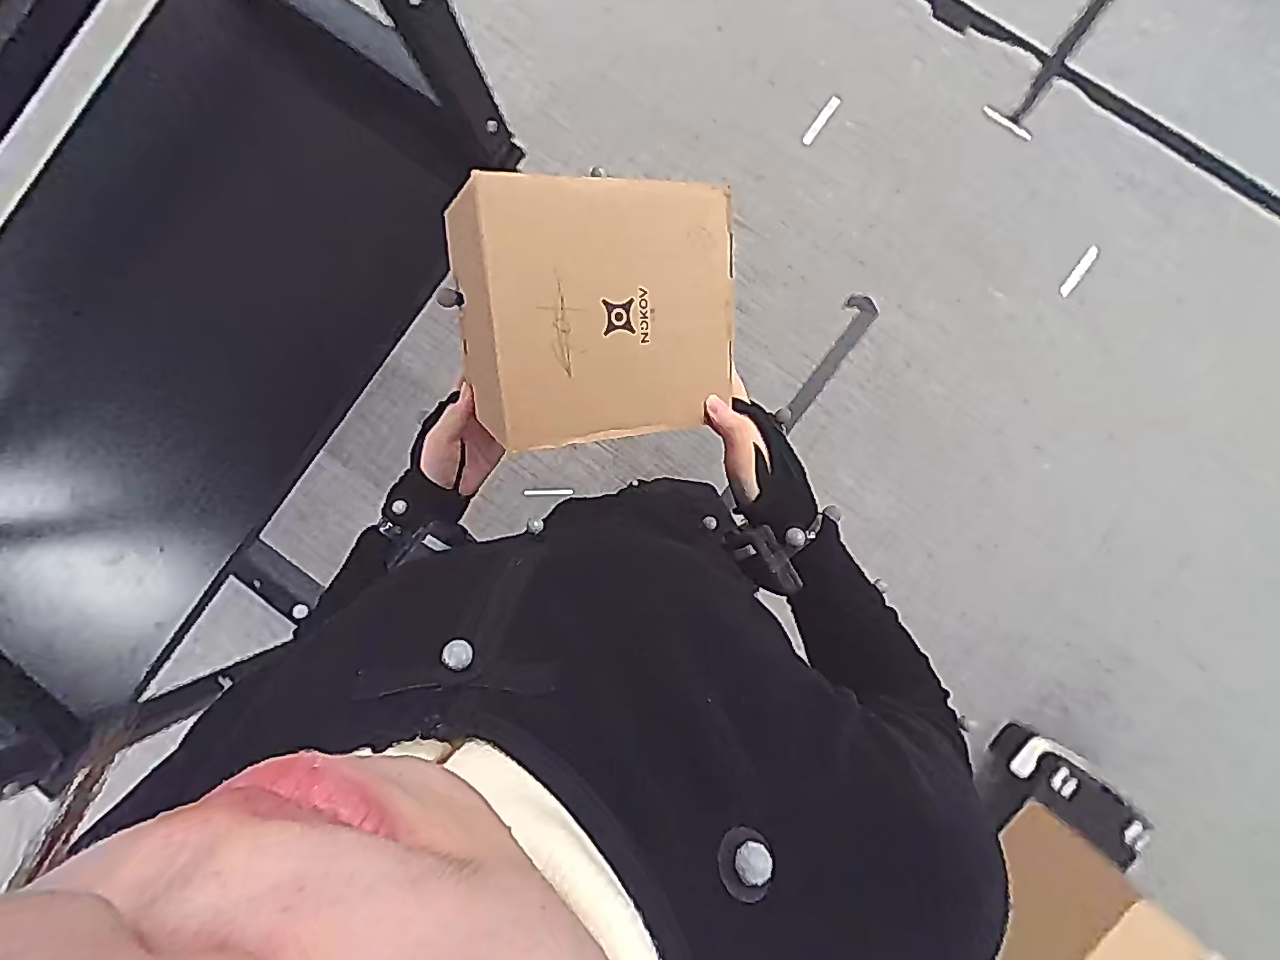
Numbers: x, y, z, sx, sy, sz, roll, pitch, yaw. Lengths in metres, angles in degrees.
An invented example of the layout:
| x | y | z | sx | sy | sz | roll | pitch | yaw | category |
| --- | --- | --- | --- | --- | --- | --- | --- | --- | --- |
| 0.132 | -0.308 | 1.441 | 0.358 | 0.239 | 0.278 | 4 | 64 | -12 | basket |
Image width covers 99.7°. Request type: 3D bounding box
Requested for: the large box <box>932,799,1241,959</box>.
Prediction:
| x | y | z | sx | sy | sz | roll | pitch | yaw | category |
| --- | --- | --- | --- | --- | --- | --- | --- | --- | --- |
| 0.898 | 0.973 | 1.093 | 0.320 | 0.320 | 0.408 | 40 | 91 | 3 | large box |
